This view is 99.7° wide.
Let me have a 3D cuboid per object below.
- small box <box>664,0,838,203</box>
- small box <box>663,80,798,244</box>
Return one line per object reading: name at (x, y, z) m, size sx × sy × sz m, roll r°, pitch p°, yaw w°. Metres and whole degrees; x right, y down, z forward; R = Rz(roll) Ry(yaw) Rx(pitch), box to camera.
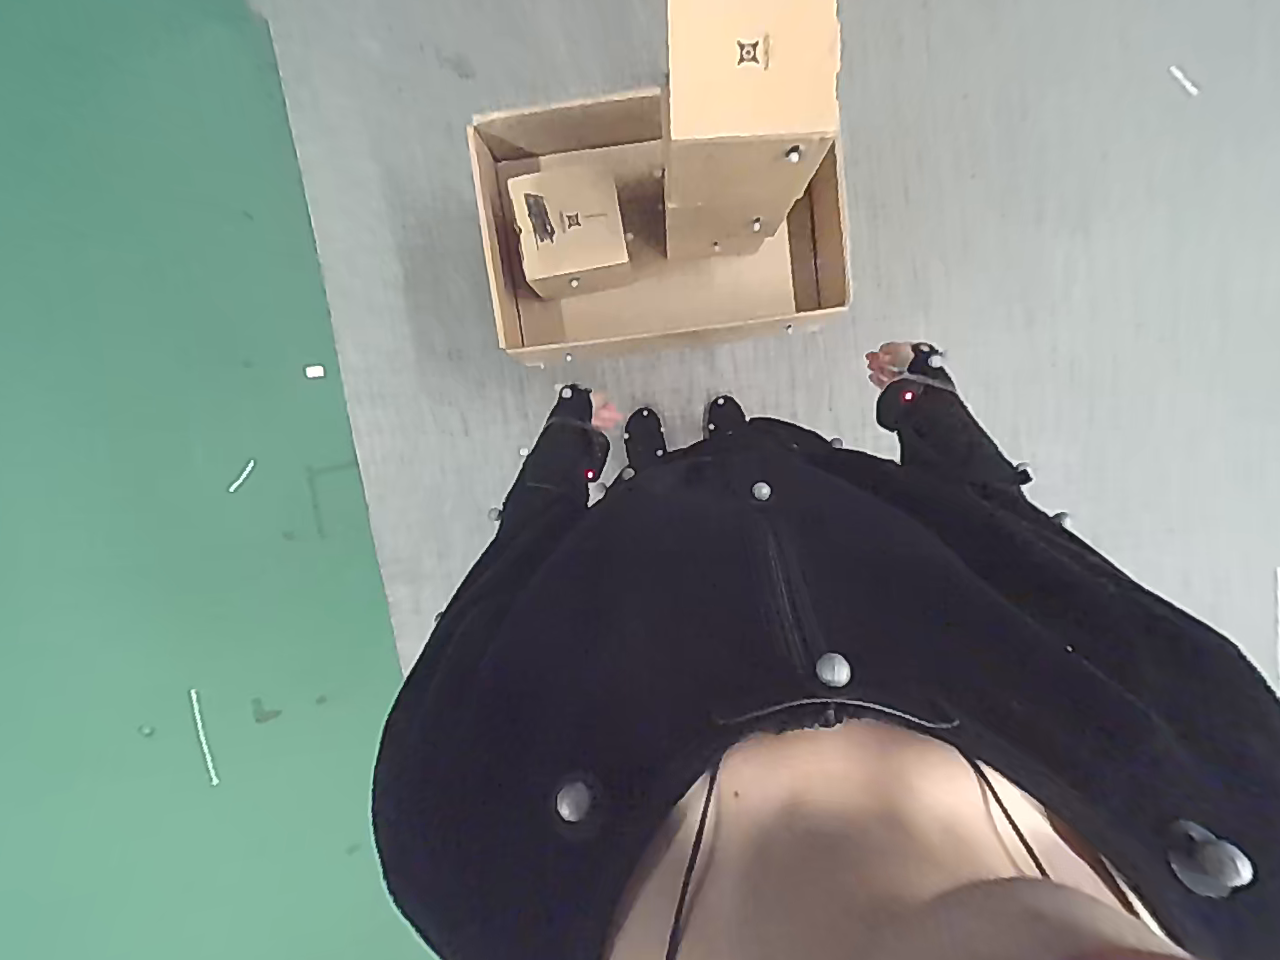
small box at (0.118, -0.441, 0.630) m, size 0.179 × 0.176 × 0.168 m, roll -1°, pitch 96°, yaw 3°
small box at (0.124, -0.459, 0.791) m, size 0.179 × 0.176 × 0.168 m, roll -2°, pitch 97°, yaw 4°
